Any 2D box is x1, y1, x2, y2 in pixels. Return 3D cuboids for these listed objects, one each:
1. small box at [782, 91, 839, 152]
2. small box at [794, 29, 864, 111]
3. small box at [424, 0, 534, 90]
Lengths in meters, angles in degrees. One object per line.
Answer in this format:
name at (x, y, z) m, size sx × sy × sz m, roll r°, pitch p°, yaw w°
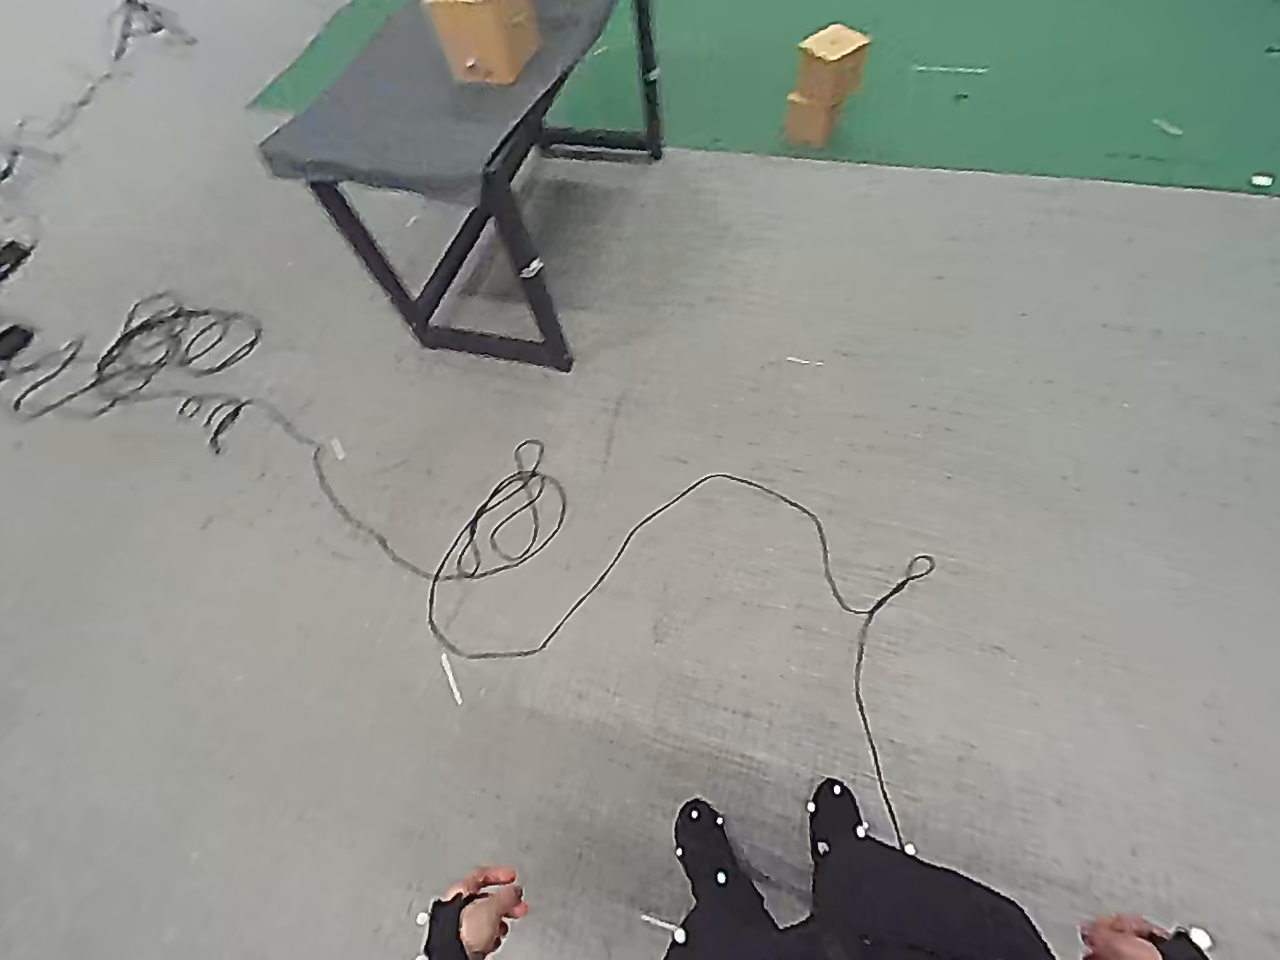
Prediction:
small box at (0.678, -1.449, 2.152) m, size 0.168 × 0.176 × 0.179 m, roll 29°, pitch 70°, yaw 19°
small box at (0.688, -1.509, 1.998) m, size 0.179 × 0.176 × 0.168 m, roll -35°, pitch 66°, yaw -11°
small box at (-0.367, -1.065, 1.277) m, size 0.168 × 0.176 × 0.179 m, roll 13°, pitch 67°, yaw 14°
